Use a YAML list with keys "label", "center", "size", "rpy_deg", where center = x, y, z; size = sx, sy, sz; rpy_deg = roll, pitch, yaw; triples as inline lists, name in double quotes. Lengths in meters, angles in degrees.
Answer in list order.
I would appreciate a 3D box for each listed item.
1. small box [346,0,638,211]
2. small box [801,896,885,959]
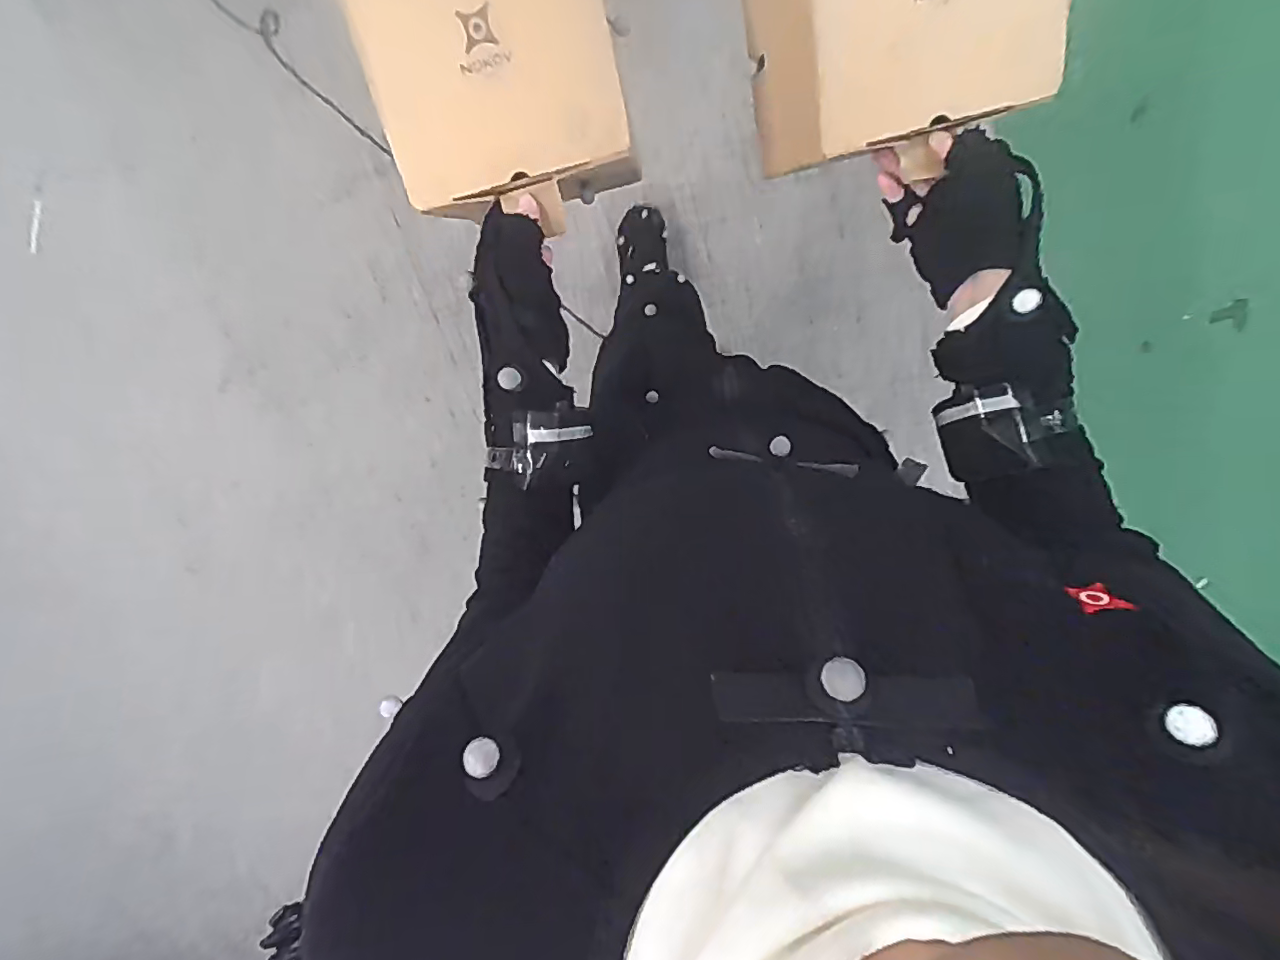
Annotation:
- label: "small box"
  center: [-0.099, -0.324, 0.426]
  size: [0.168, 0.176, 0.179]
  rpy_deg: [-12, 111, 6]
- label: "small box"
  center: [0.518, 1.211, 1.382]
  size: [0.179, 0.176, 0.168]
  rpy_deg: [-10, 102, 7]
